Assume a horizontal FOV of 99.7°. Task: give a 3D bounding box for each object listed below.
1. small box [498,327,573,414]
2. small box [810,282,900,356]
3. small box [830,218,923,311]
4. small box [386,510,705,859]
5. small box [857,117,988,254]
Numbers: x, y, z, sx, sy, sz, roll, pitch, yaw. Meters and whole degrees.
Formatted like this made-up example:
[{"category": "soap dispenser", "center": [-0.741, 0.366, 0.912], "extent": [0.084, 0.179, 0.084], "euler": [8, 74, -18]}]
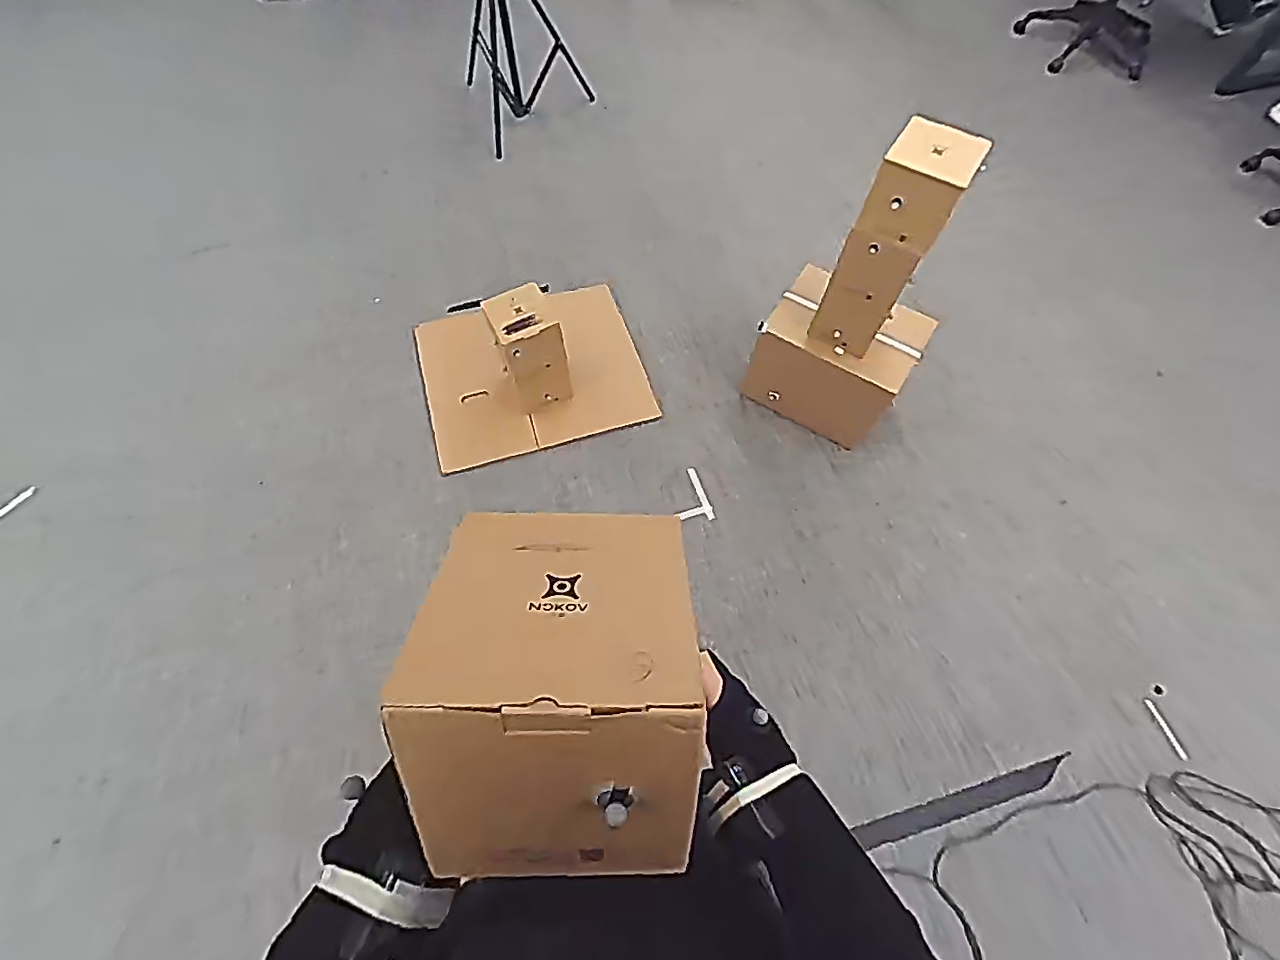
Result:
[{"category": "small box", "center": [-0.320, -0.337, 1.683], "extent": [0.168, 0.176, 0.179], "euler": [-24, 66, -10]}, {"category": "small box", "center": [0.573, -0.465, 1.428], "extent": [0.168, 0.176, 0.179], "euler": [30, 67, 13]}, {"category": "small box", "center": [0.577, -0.542, 1.284], "extent": [0.168, 0.176, 0.179], "euler": [30, 66, 14]}, {"category": "small box", "center": [-0.051, 0.137, 0.383], "extent": [0.168, 0.176, 0.179], "euler": [1, 29, -3]}, {"category": "small box", "center": [0.582, -0.613, 1.136], "extent": [0.168, 0.176, 0.179], "euler": [29, 66, 13]}]
